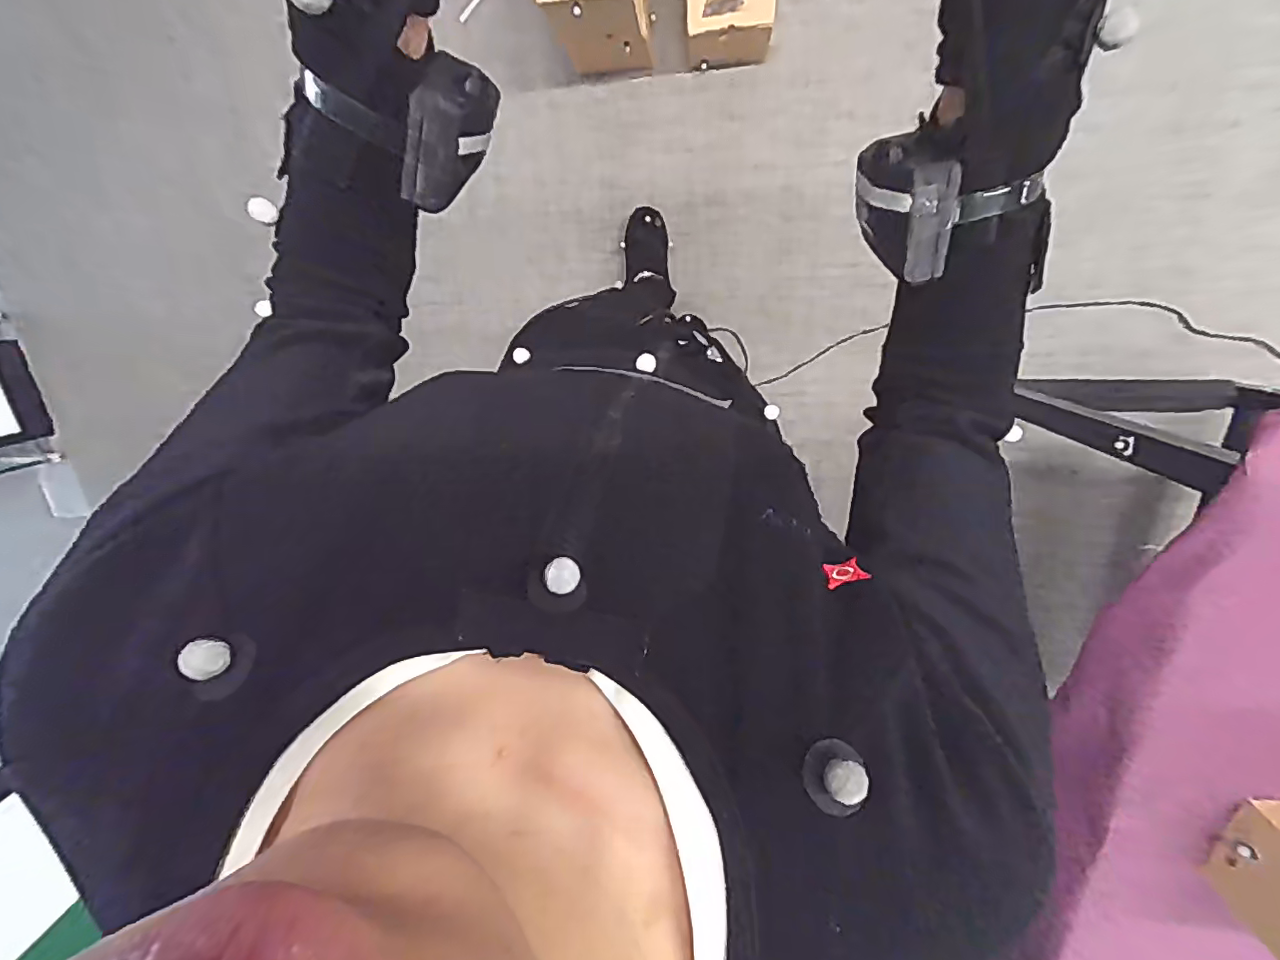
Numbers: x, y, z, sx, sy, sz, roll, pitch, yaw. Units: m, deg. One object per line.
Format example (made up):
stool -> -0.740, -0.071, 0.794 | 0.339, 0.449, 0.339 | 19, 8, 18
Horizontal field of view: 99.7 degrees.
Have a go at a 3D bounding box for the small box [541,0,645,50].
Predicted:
small box -> -0.081, -0.903, 0.953 | 0.168, 0.176, 0.179 | 0, 108, 6

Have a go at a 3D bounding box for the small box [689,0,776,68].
small box -> 0.181, -0.953, 1.077 | 0.168, 0.176, 0.179 | -1, 108, 7

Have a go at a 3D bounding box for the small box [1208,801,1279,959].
small box -> 0.963, 0.574, 0.735 | 0.179, 0.176, 0.168 | 5, 108, 5
